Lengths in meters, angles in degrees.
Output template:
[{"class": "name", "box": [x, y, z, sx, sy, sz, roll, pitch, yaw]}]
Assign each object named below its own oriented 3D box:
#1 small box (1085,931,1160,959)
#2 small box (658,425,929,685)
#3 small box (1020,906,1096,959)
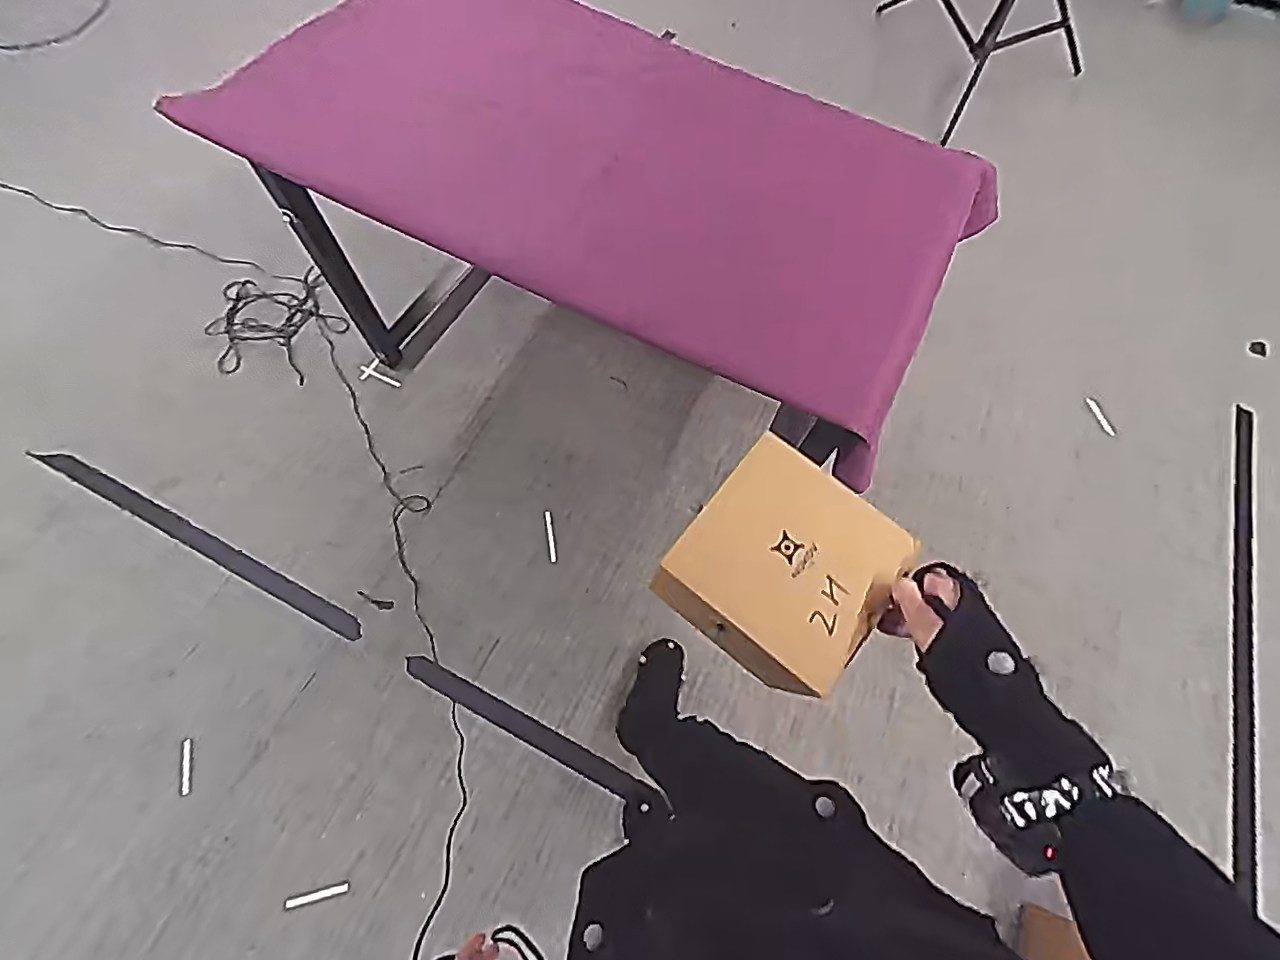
[{"class": "small box", "box": [0.850, 0.882, 0.865, 0.168, 0.176, 0.179, 25, 69, 8]}, {"class": "small box", "box": [0.134, 0.082, 0.544, 0.179, 0.176, 0.168, 38, 74, 9]}, {"class": "small box", "box": [0.852, 0.946, 1.014, 0.179, 0.176, 0.168, 24, 69, 6]}]
